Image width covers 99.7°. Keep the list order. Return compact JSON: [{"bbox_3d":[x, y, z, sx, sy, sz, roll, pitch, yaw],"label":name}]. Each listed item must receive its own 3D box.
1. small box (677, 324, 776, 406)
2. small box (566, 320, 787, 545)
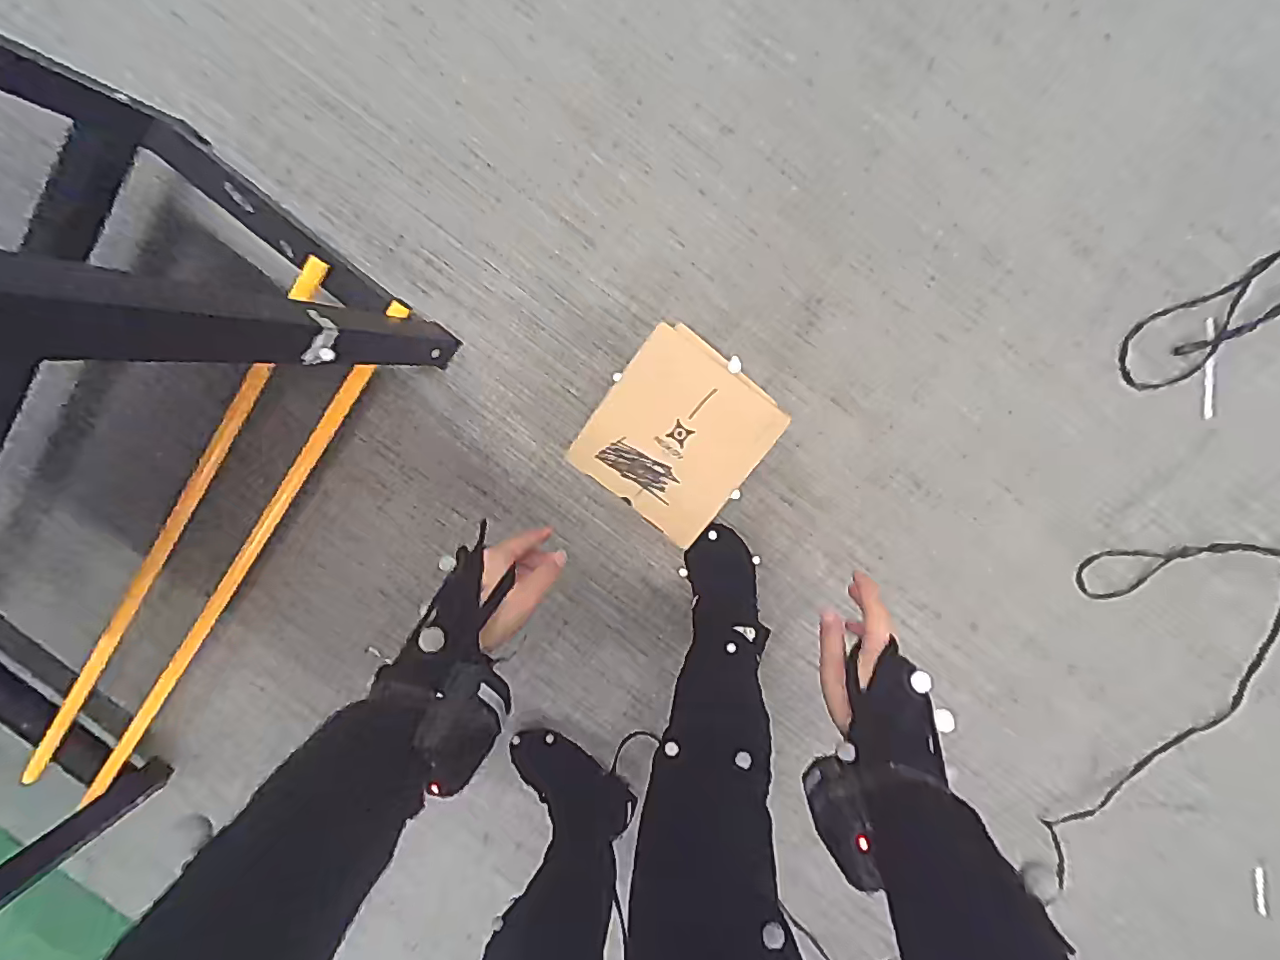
[{"bbox_3d":[0.070,-0.101,0.789,0.168,0.176,0.179,40,103,-1],"label":"small box"},{"bbox_3d":[0.045,-0.058,0.633,0.168,0.176,0.179,37,102,-1],"label":"small box"}]
